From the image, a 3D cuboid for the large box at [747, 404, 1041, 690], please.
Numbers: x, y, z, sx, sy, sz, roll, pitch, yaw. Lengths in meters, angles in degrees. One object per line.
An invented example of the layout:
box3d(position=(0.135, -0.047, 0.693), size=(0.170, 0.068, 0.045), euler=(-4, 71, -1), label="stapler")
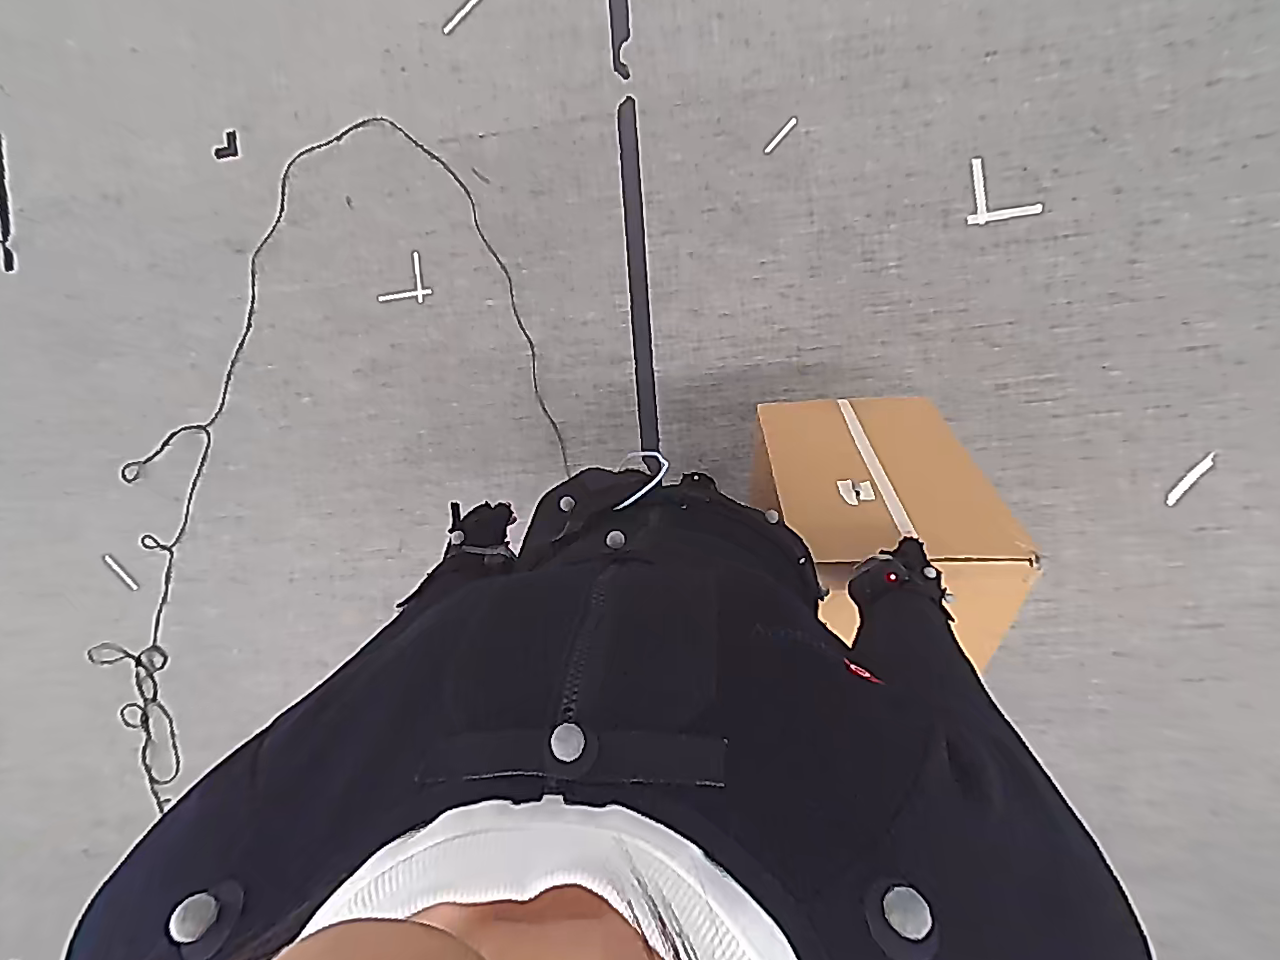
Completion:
box3d(position=(0.375, 0.103, 0.944), size=(0.320, 0.408, 0.320), euler=(-2, 129, 4), label="large box")
